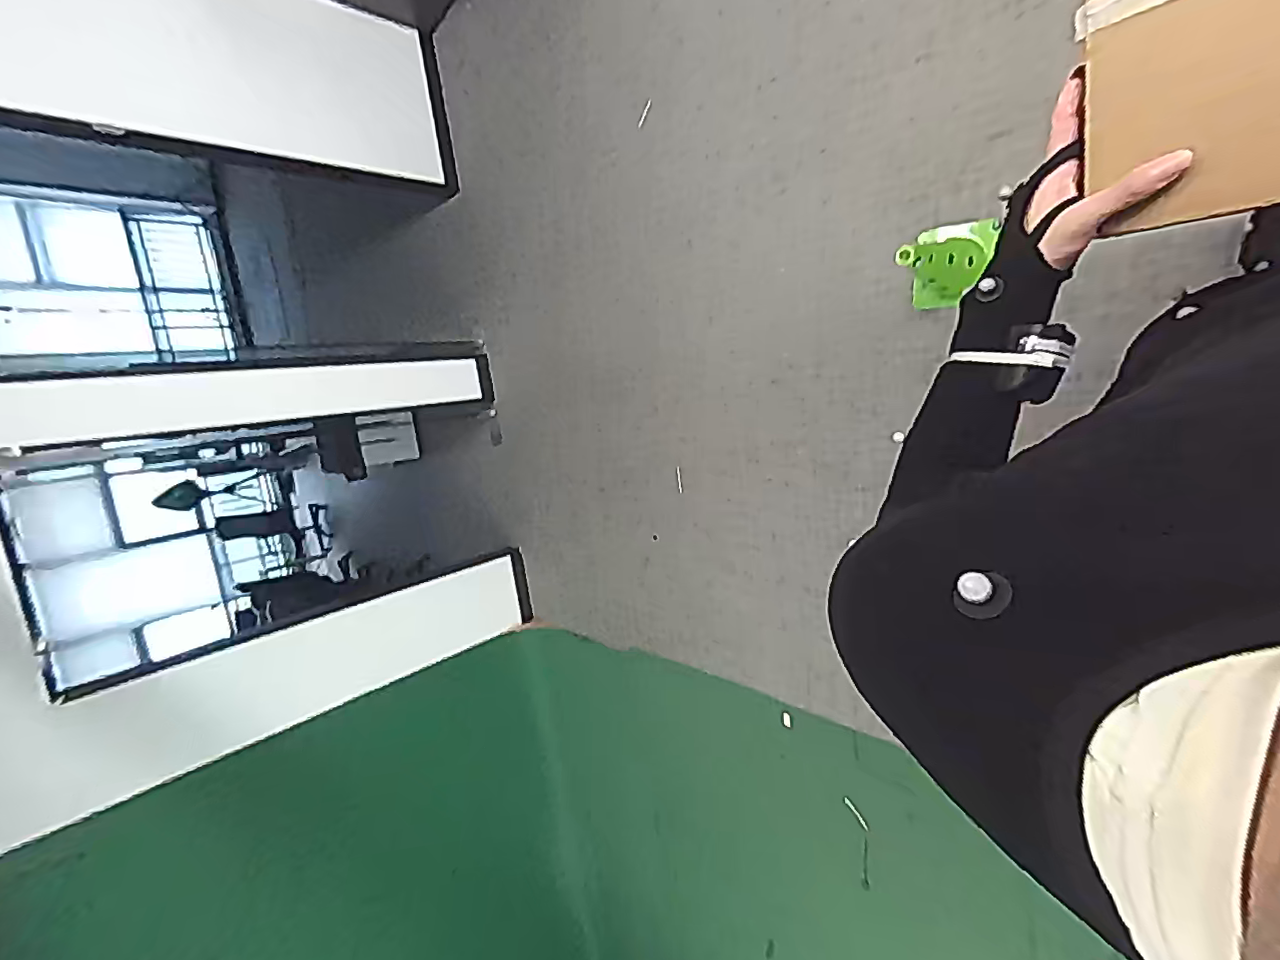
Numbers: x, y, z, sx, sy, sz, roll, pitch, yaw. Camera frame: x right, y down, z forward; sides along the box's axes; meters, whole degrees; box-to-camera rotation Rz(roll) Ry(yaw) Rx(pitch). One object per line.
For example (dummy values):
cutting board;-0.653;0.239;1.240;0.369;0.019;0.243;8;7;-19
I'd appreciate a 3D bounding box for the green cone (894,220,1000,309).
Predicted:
green cone;0.697;-0.521;1.299;0.200;0.368;0.202;10;110;45
